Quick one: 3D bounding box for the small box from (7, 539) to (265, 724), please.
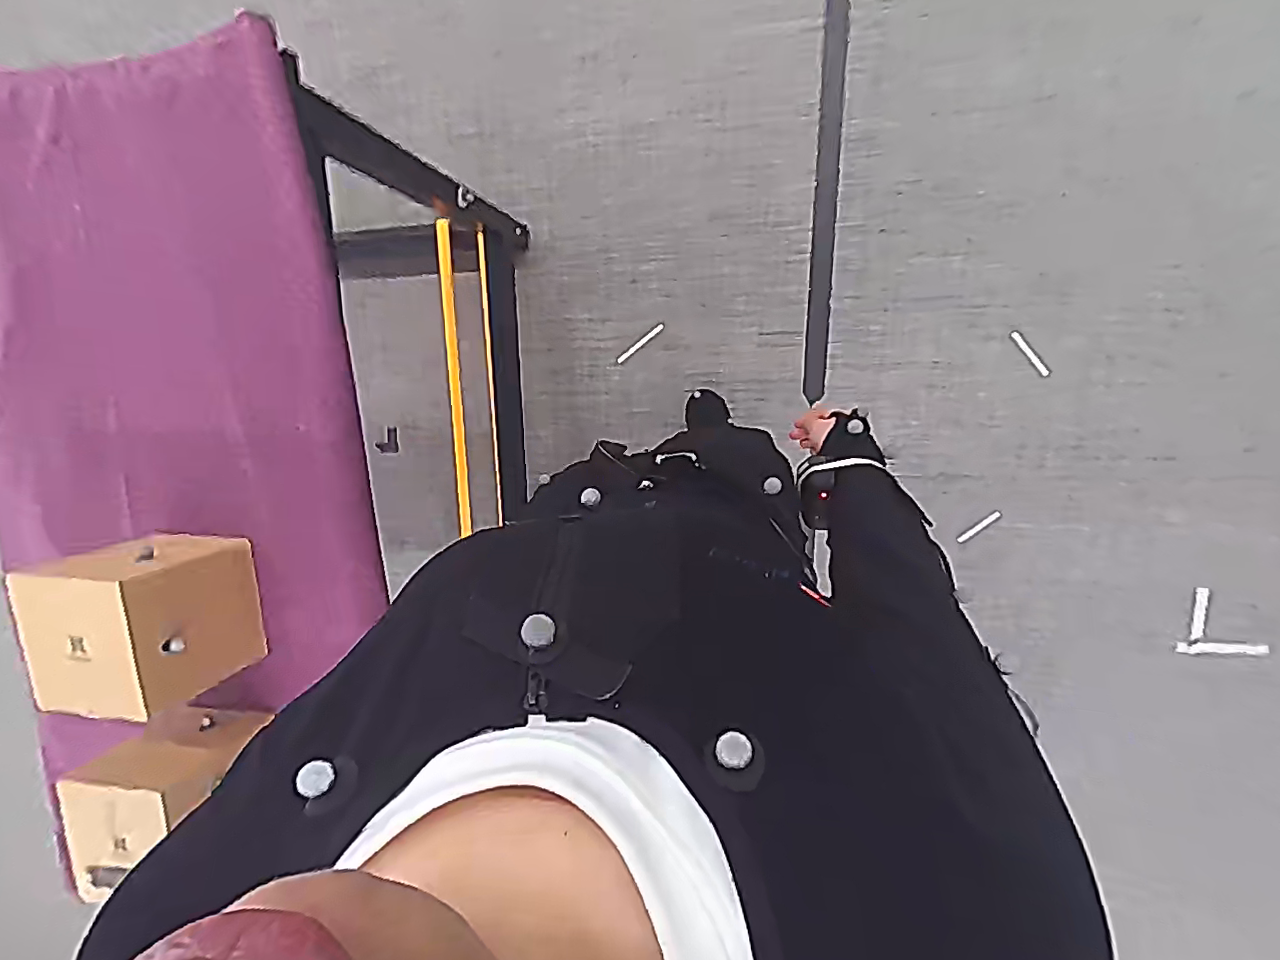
[{"bbox_3d":[-0.631,0.182,0.701,0.168,0.176,0.179,1,101,11],"label":"small box"}]
